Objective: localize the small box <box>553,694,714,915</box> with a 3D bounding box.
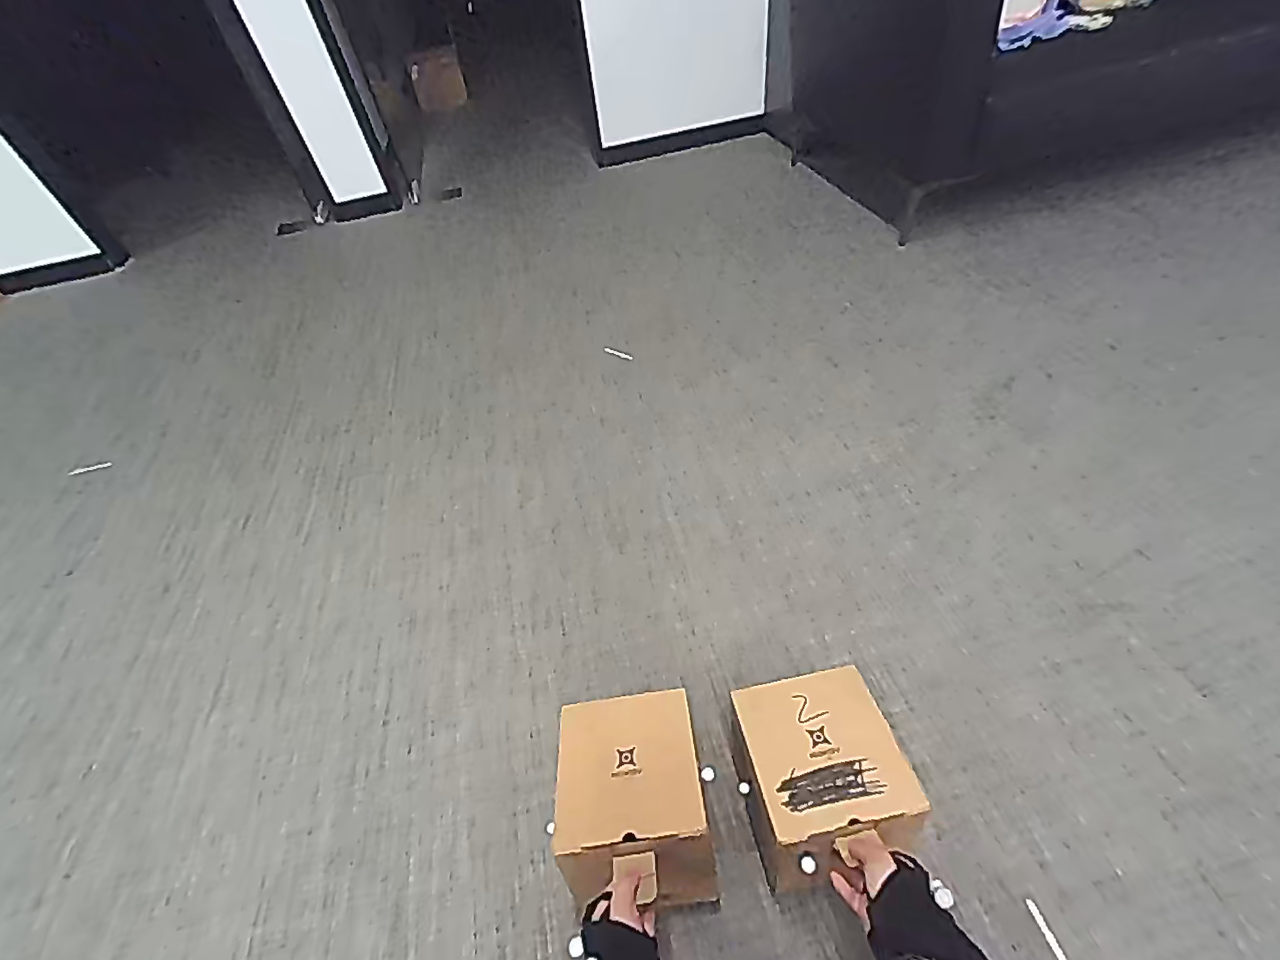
[{"bbox_3d":[-0.004,0.401,0.677,0.168,0.176,0.179,-8,33,2],"label":"small box"}]
